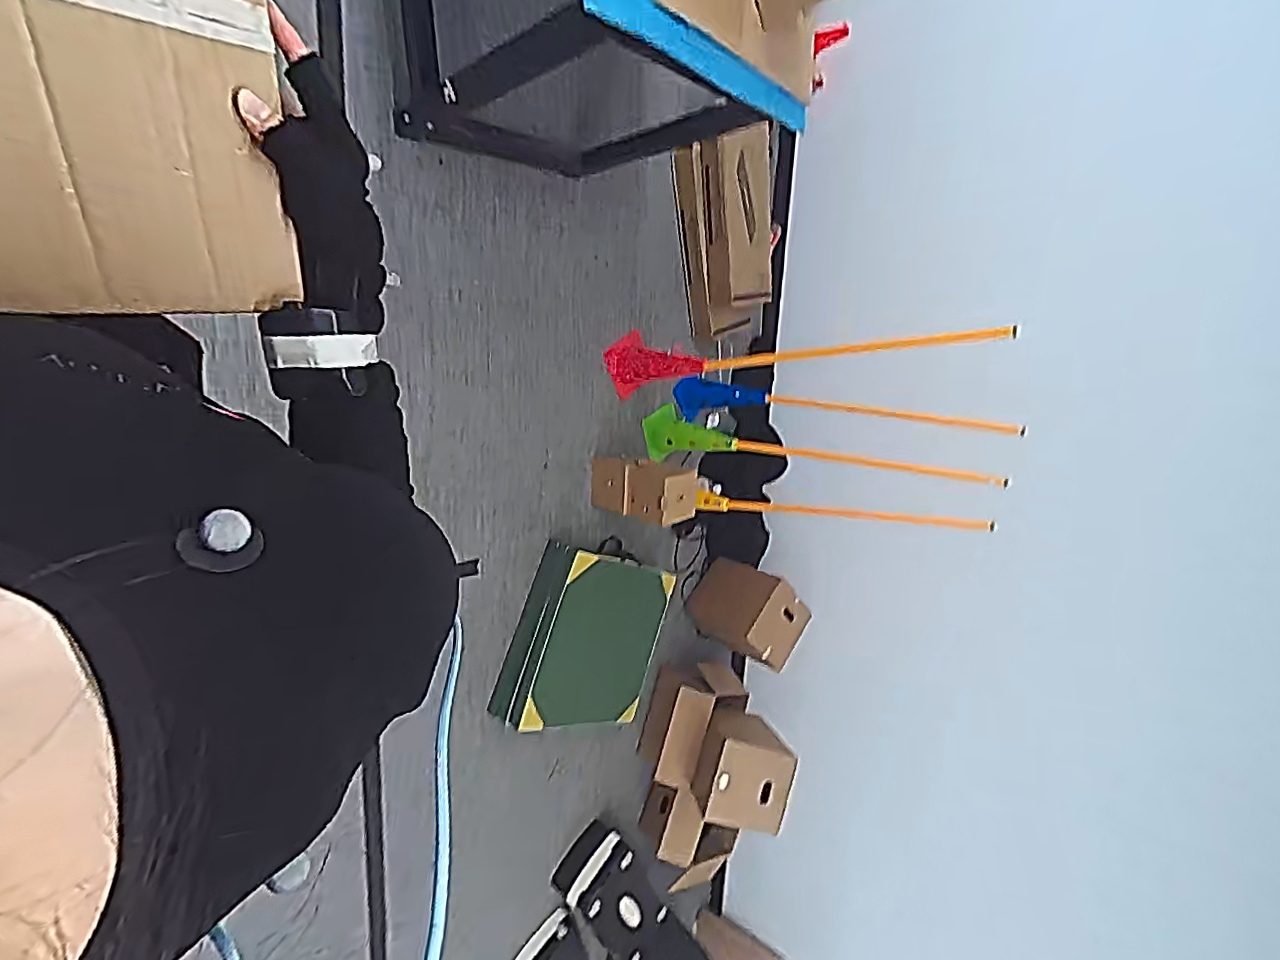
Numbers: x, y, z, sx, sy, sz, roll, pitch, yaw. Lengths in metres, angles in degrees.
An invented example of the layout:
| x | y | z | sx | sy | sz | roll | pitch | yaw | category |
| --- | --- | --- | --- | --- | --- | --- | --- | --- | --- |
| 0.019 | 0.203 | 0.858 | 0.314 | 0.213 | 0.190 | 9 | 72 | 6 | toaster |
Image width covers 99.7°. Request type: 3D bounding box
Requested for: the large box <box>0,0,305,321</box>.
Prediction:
| x | y | z | sx | sy | sz | roll | pitch | yaw | category |
| --- | --- | --- | --- | --- | --- | --- | --- | --- | --- |
| -0.467 | -0.274 | 0.285 | 0.408 | 0.320 | 0.320 | -17 | 129 | -40 | large box |
